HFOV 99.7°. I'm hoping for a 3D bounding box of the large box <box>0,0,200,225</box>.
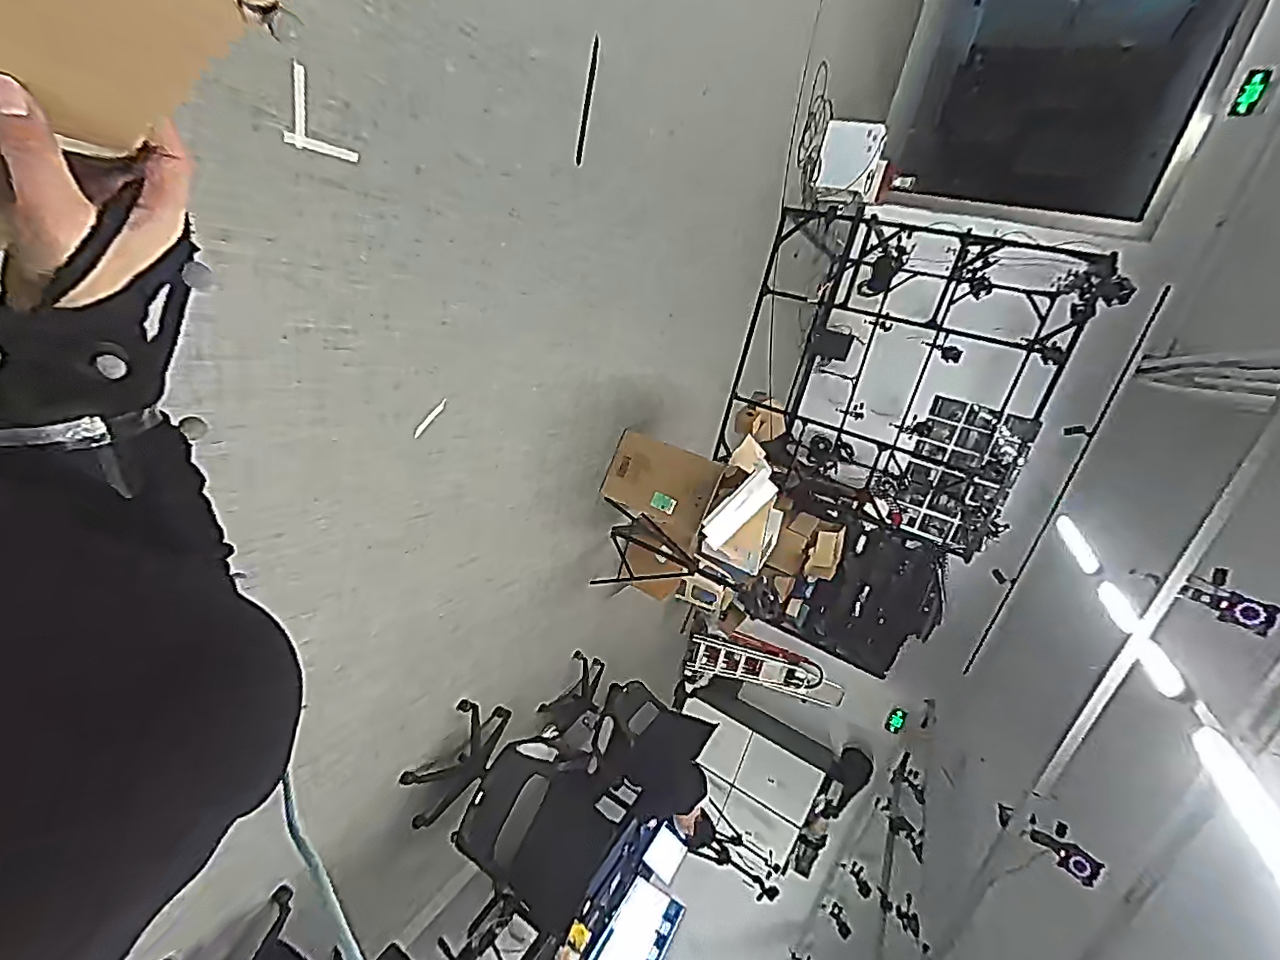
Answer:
[{"bbox_3d":[-0.398,-0.301,0.095,0.408,0.320,0.320,-17,99,-60],"label":"large box"}]
